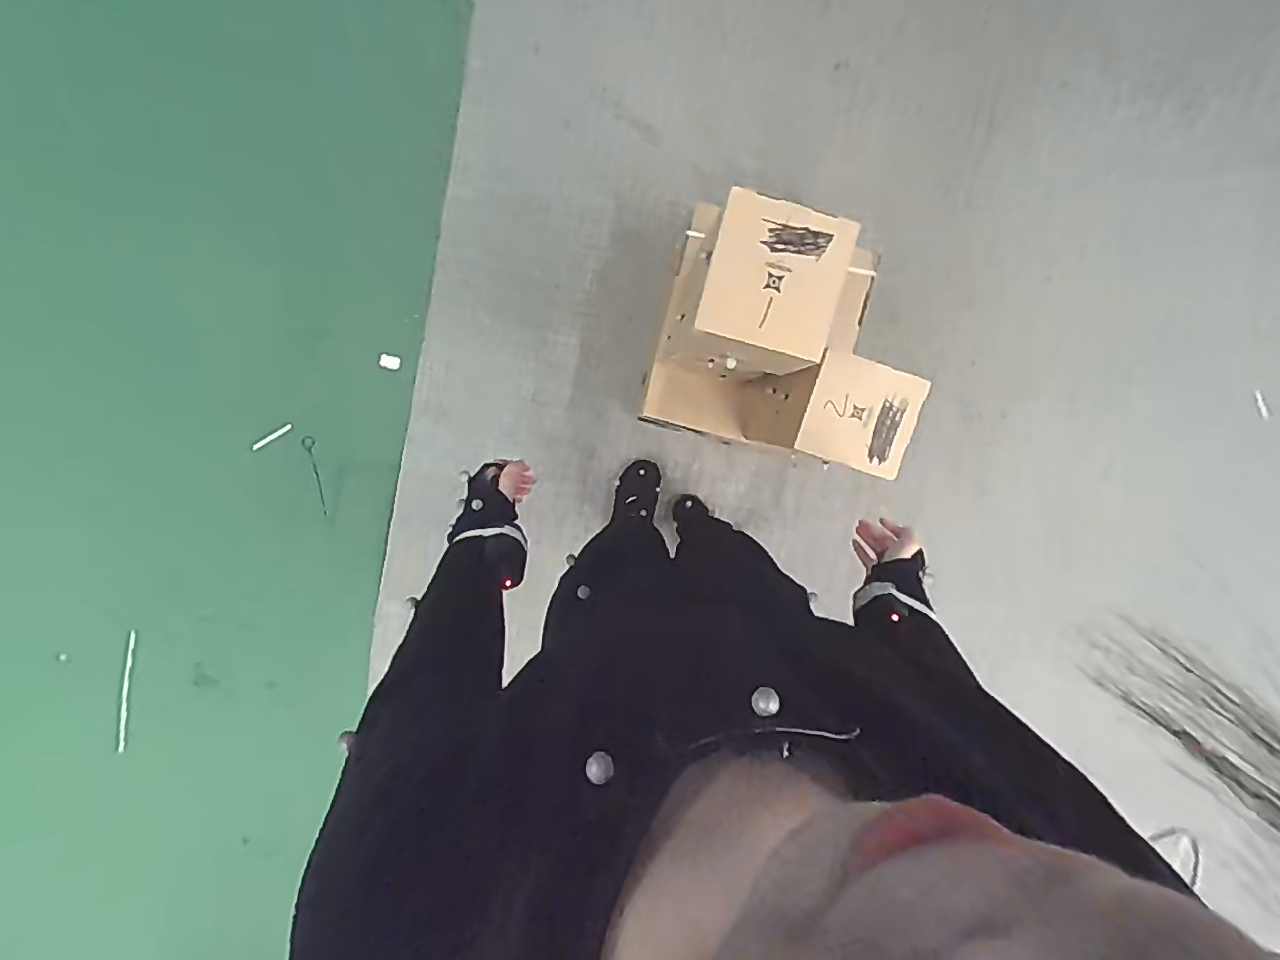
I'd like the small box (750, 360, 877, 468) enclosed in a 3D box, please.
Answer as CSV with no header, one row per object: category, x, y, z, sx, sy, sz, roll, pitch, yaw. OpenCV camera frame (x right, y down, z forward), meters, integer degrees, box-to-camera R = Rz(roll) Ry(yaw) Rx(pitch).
small box,0.333,-0.133,1.074,0.168,0.176,0.179,17,93,-3

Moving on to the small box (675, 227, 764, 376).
small box,0.159,-0.282,0.895,0.168,0.176,0.179,14,95,-3

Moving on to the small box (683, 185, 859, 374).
small box,0.162,-0.255,0.732,0.168,0.176,0.179,15,95,-3

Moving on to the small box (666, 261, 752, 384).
small box,0.150,-0.295,1.057,0.168,0.176,0.179,15,93,-3
